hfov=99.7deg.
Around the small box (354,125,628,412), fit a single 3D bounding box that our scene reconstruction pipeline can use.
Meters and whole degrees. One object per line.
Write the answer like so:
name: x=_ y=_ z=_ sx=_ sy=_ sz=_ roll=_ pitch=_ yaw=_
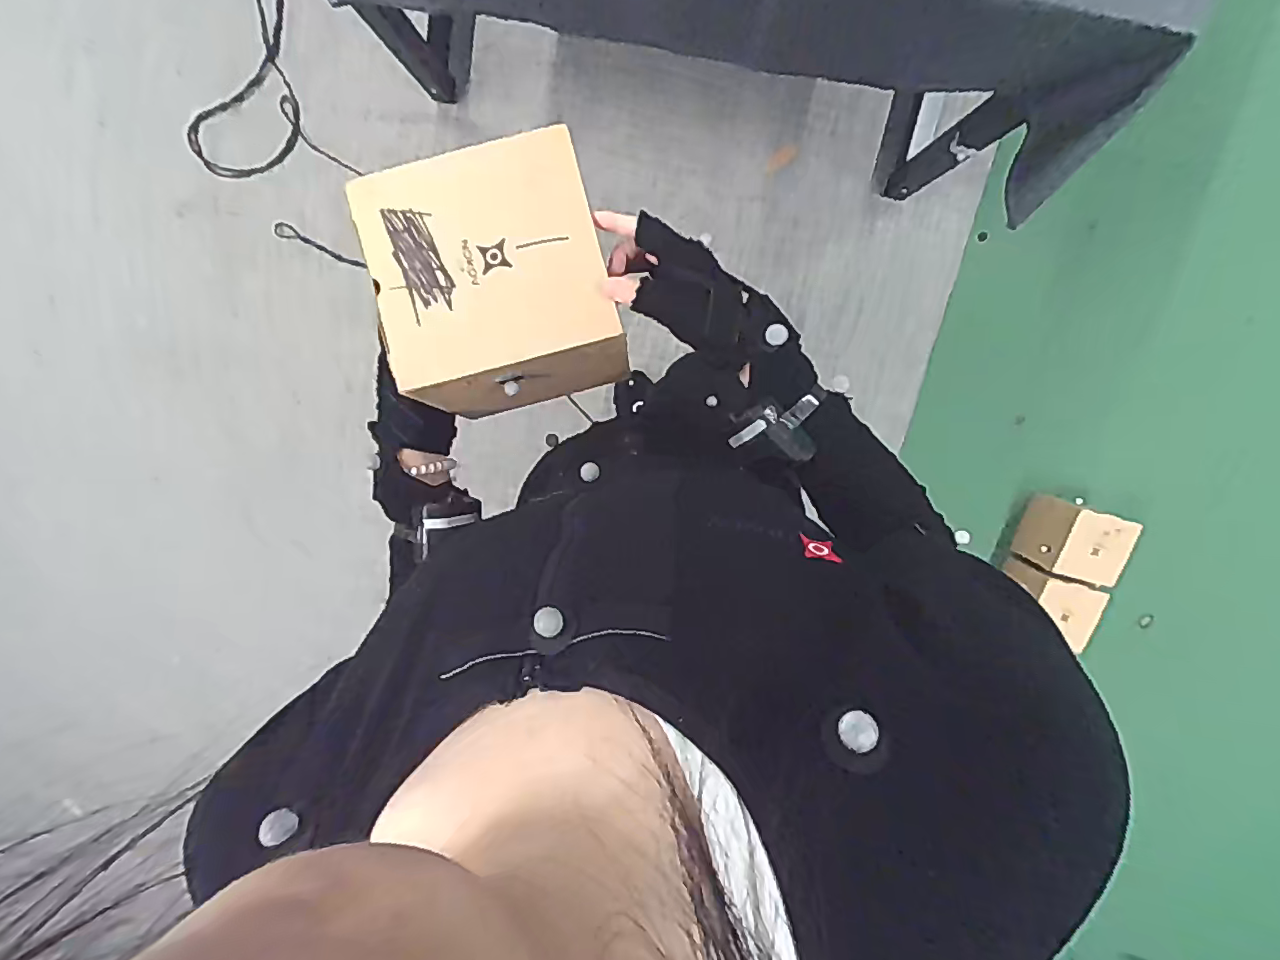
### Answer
small box: x=-0.114 y=-0.167 z=0.486 sx=0.179 sy=0.176 sz=0.168 roll=-15 pitch=89 yaw=0
